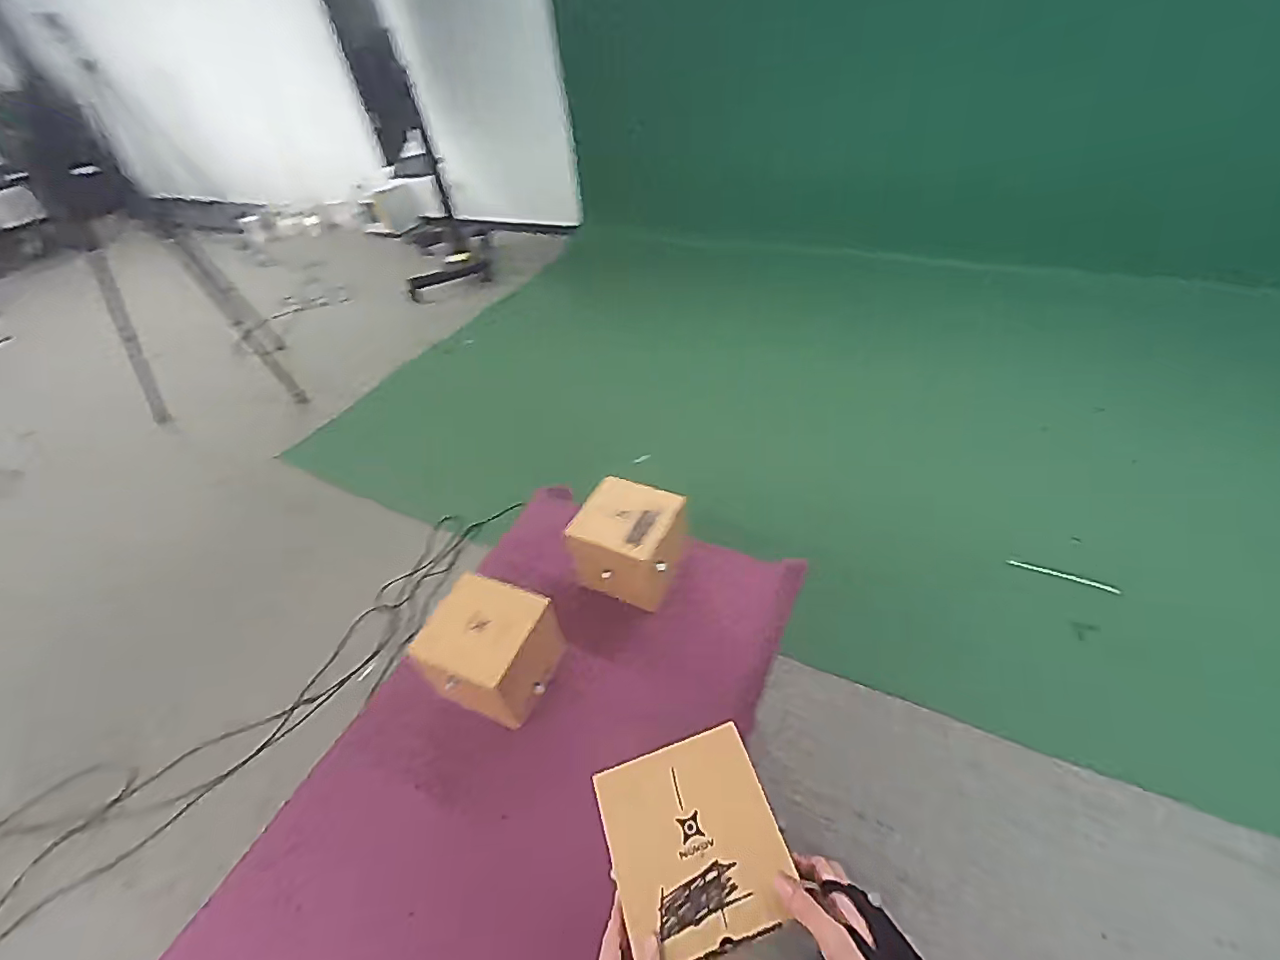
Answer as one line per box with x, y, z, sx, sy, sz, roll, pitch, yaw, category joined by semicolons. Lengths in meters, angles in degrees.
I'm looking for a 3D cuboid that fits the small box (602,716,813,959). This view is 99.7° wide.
0.070;0.393;0.587;0.168;0.176;0.179;-17;46;-4;small box

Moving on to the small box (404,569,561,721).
-0.260;0.286;0.931;0.179;0.176;0.168;14;49;20;small box
